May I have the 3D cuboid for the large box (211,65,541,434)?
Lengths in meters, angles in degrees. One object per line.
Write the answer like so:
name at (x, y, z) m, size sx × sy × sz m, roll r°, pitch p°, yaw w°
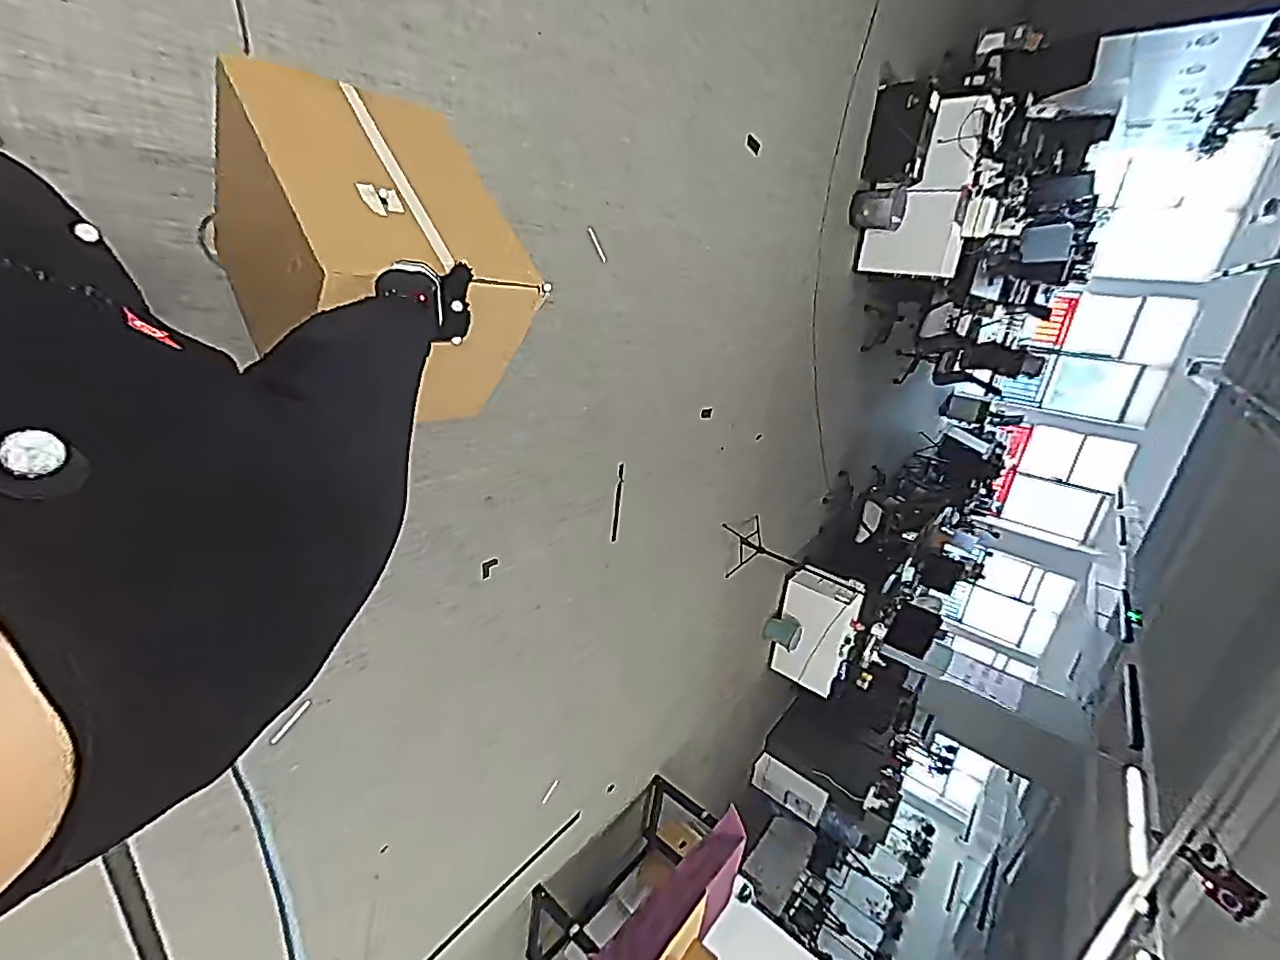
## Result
large box at (-0.437, -0.336, 0.871) m, size 0.320 × 0.408 × 0.320 m, roll -17°, pitch 160°, yaw -46°
